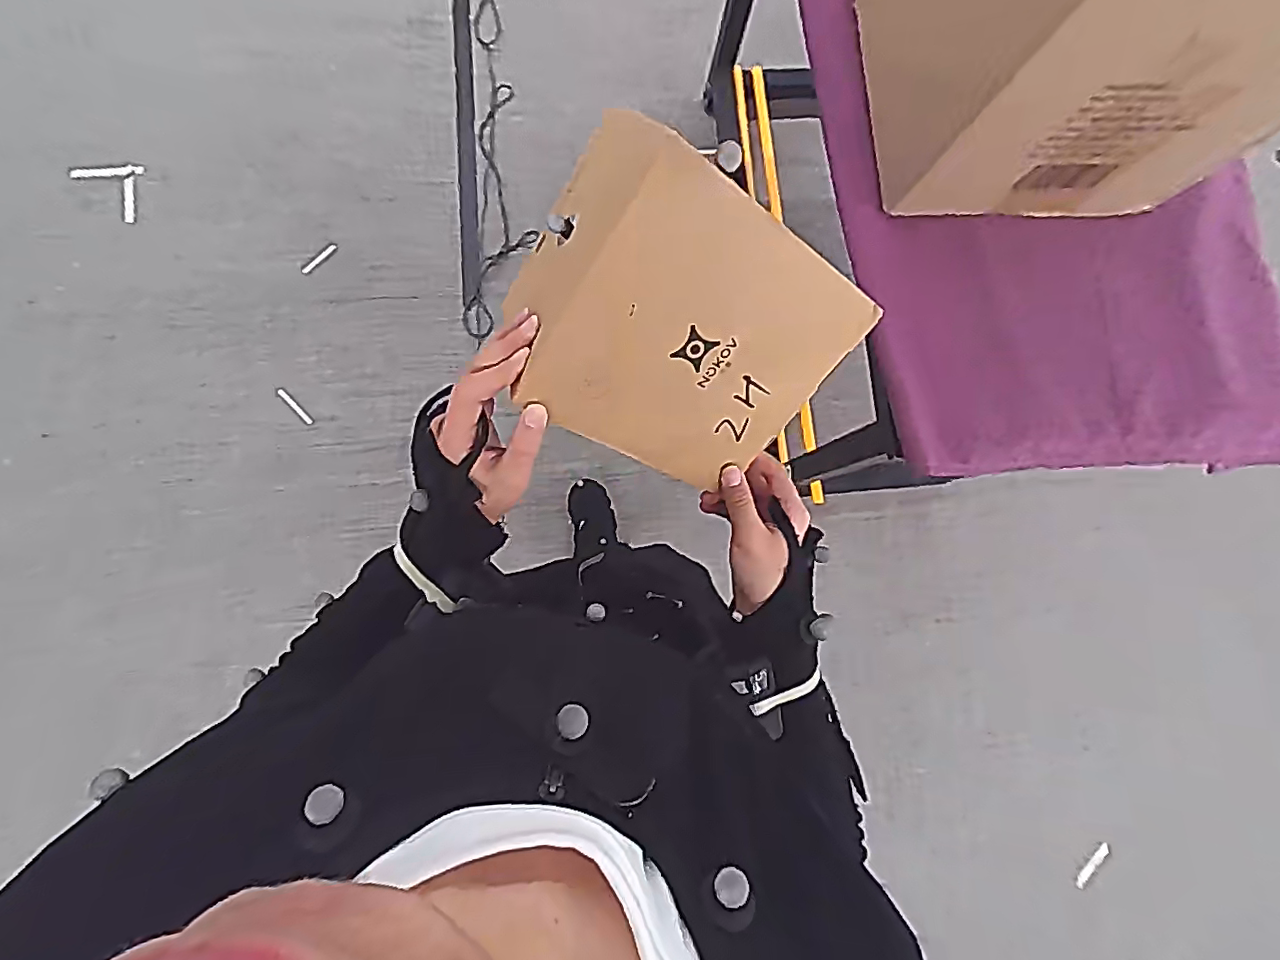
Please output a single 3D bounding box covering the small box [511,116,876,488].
[{"bbox_3d":[0.019,-0.128,0.391,0.179,0.176,0.168,23,119,-30],"label":"small box"}]
